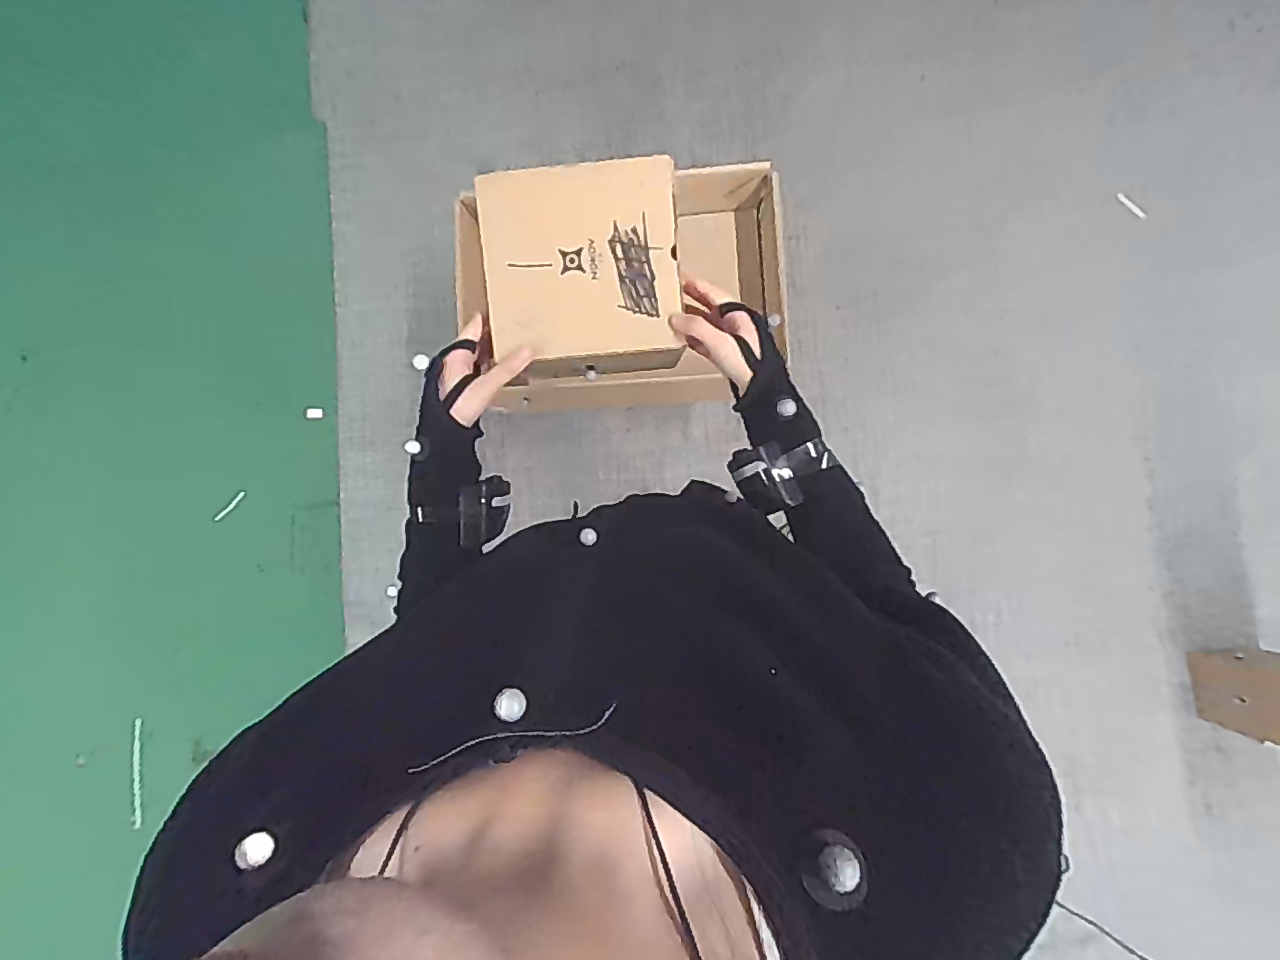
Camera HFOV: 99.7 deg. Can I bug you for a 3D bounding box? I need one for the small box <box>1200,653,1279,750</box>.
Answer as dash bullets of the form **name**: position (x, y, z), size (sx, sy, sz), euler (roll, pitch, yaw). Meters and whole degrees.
- **small box**: position (1.513, 0.522, 1.300), size (0.168, 0.176, 0.179), euler (-6, 86, 4)
